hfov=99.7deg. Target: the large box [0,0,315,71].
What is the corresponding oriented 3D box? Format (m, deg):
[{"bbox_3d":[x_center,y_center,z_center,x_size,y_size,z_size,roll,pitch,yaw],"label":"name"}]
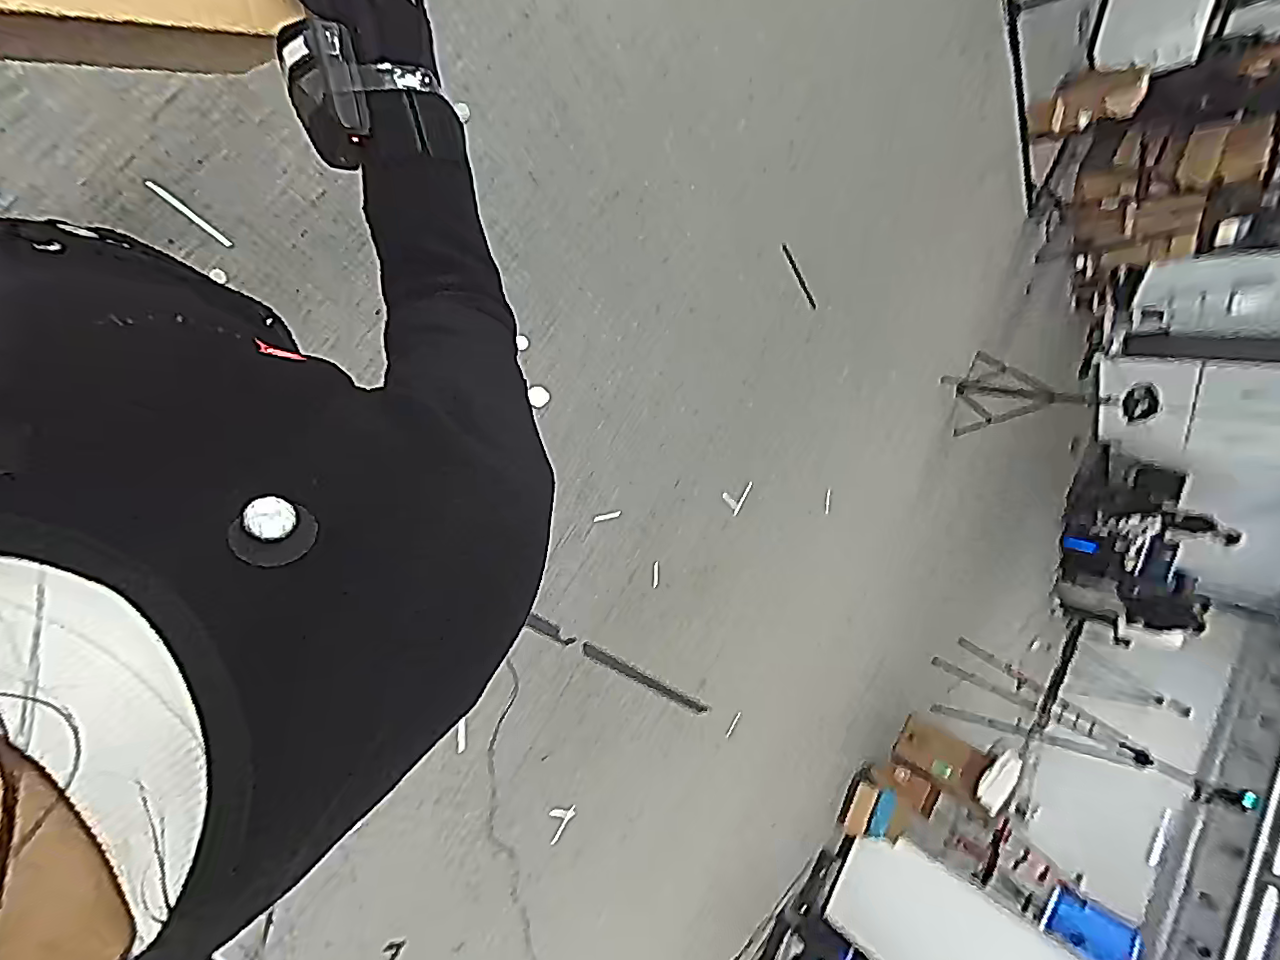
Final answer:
[{"bbox_3d":[-0.454,-0.408,0.257,0.408,0.320,0.320,-23,130,-33],"label":"large box"}]
